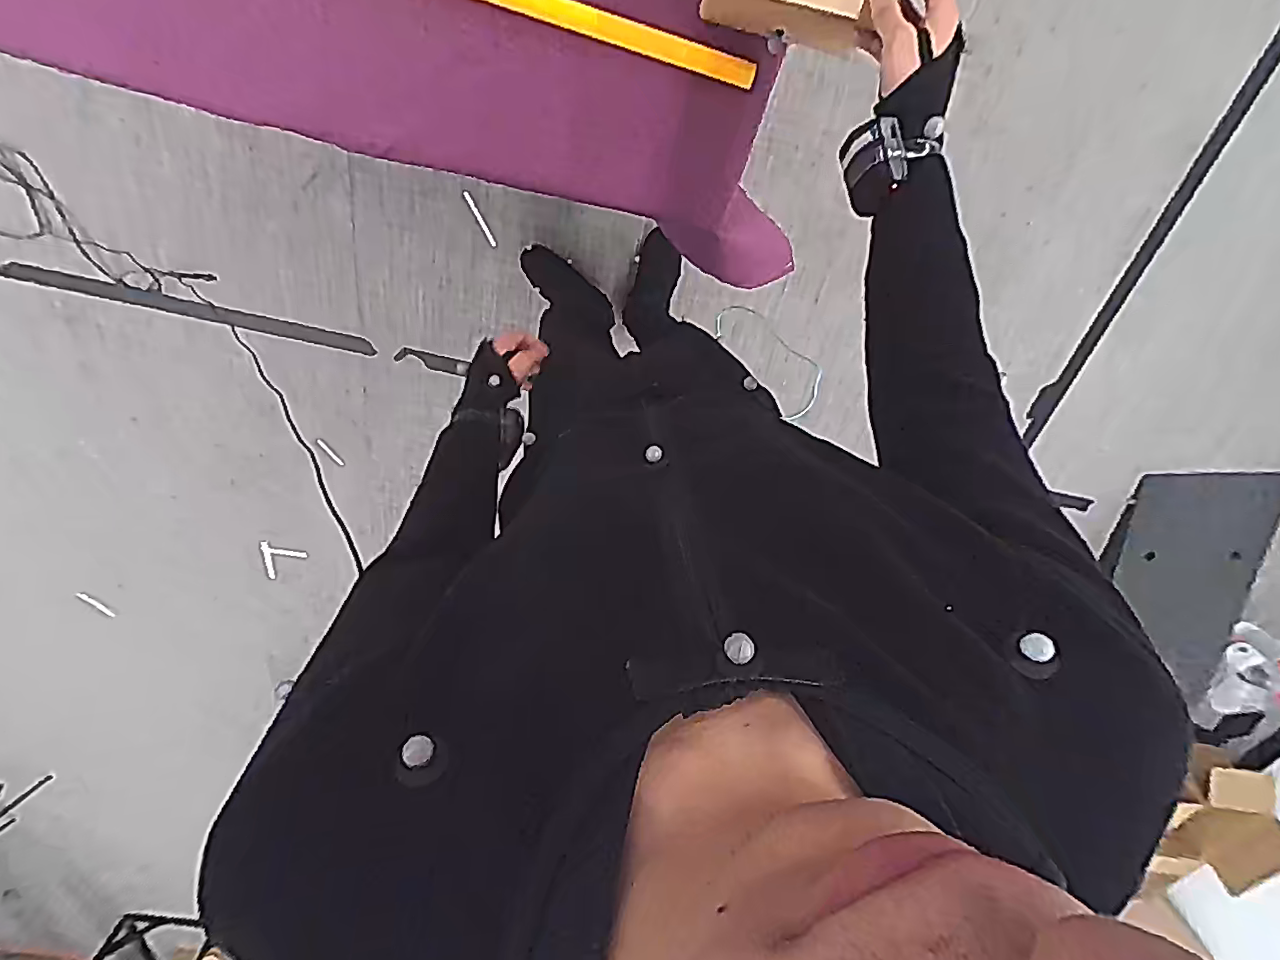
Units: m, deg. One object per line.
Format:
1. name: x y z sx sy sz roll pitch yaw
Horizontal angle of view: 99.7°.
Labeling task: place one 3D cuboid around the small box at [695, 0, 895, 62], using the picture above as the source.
1. small box: 0.159 -0.529 0.523 0.179 0.176 0.168 12 122 -4
